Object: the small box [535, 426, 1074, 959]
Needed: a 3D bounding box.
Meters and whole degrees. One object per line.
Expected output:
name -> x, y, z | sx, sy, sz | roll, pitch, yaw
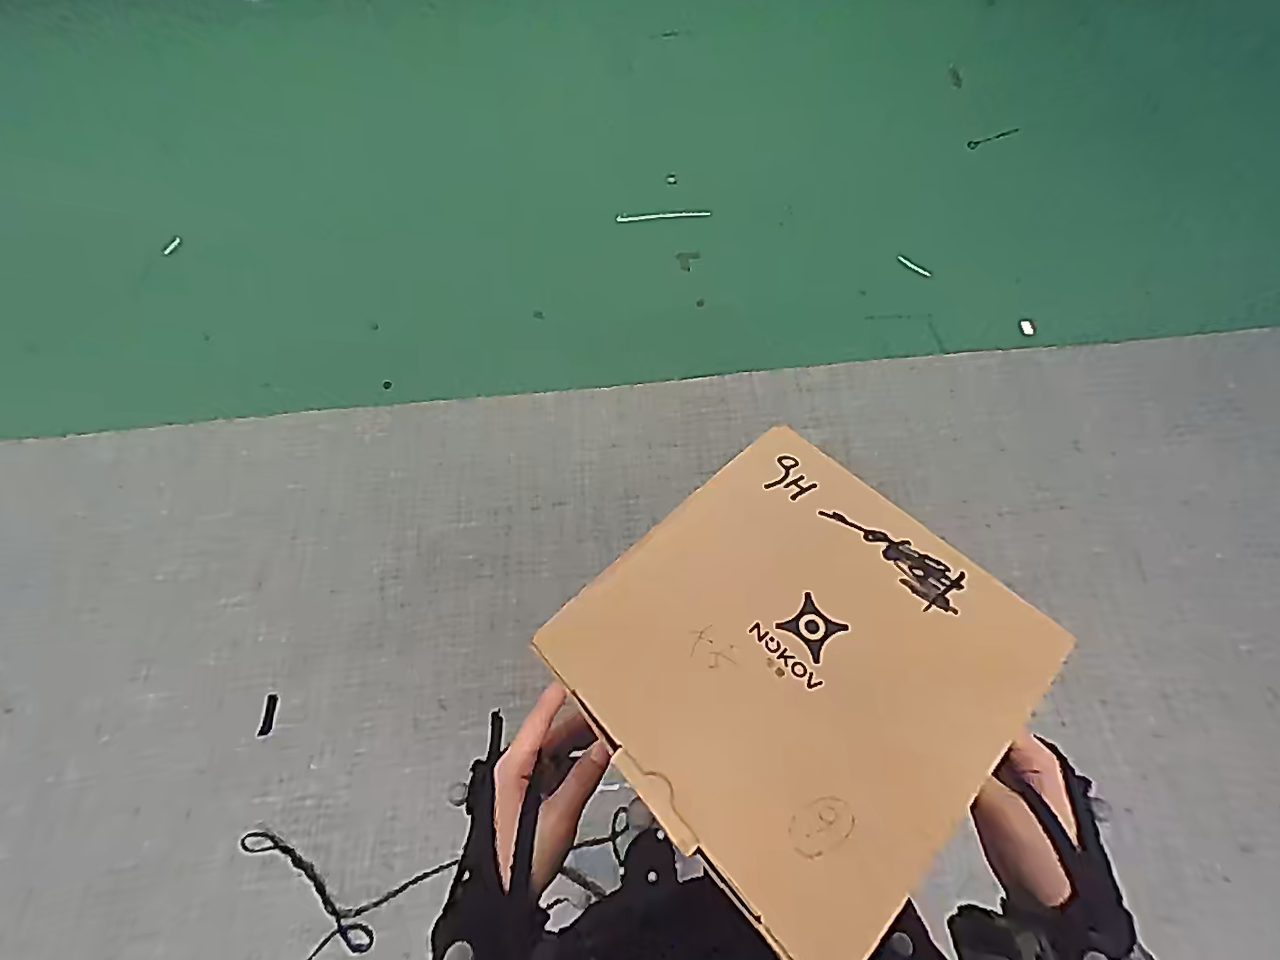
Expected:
small box -> 0.073, 0.111, 0.303 | 0.179, 0.176, 0.168 | -39, 64, -18
